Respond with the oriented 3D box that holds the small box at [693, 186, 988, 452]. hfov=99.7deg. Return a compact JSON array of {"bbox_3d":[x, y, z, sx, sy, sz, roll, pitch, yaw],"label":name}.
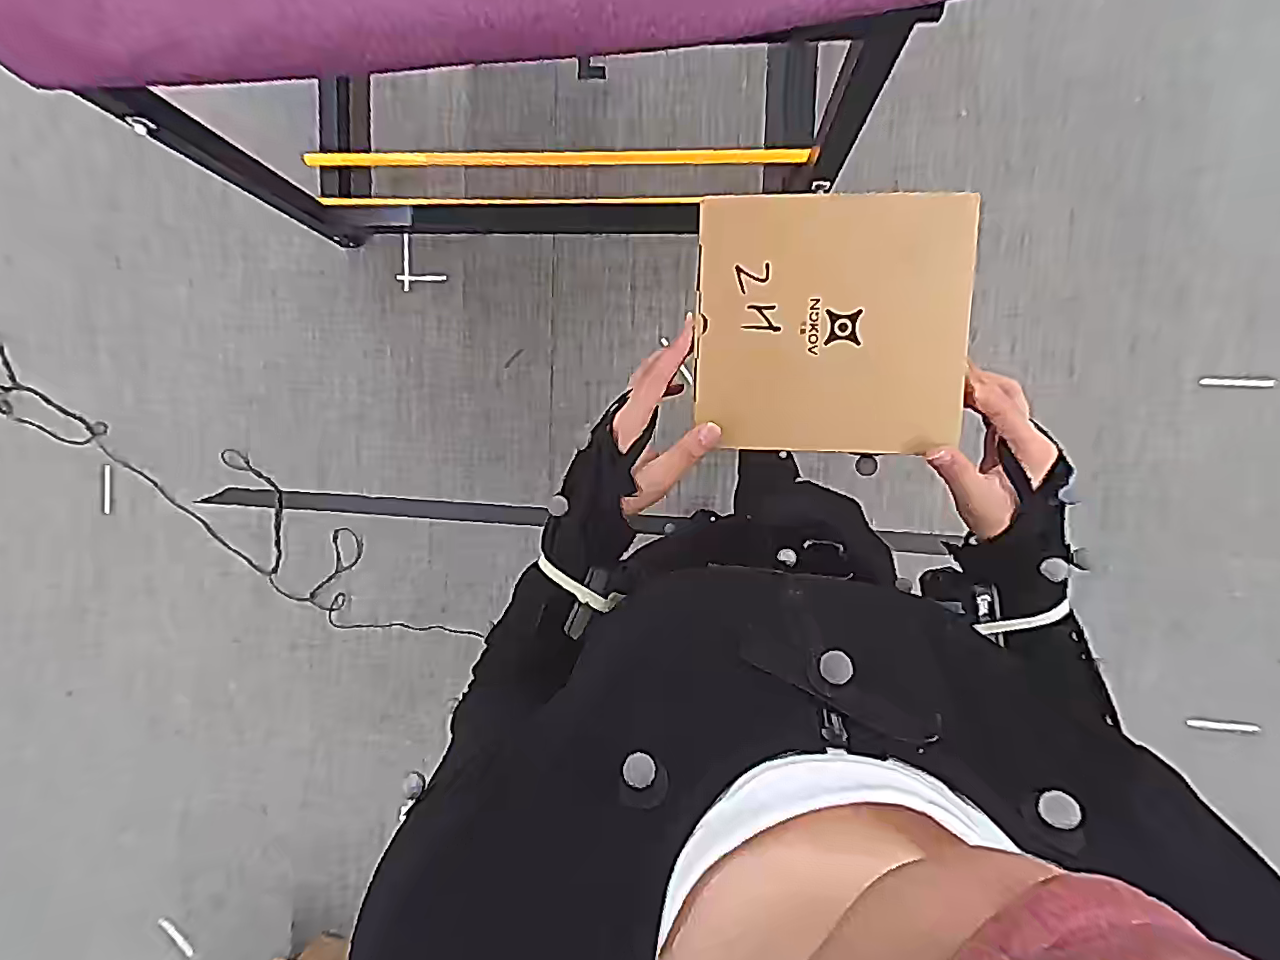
[{"bbox_3d":[0.133,-0.110,0.426,0.179,0.176,0.168,2,95,6],"label":"small box"}]
